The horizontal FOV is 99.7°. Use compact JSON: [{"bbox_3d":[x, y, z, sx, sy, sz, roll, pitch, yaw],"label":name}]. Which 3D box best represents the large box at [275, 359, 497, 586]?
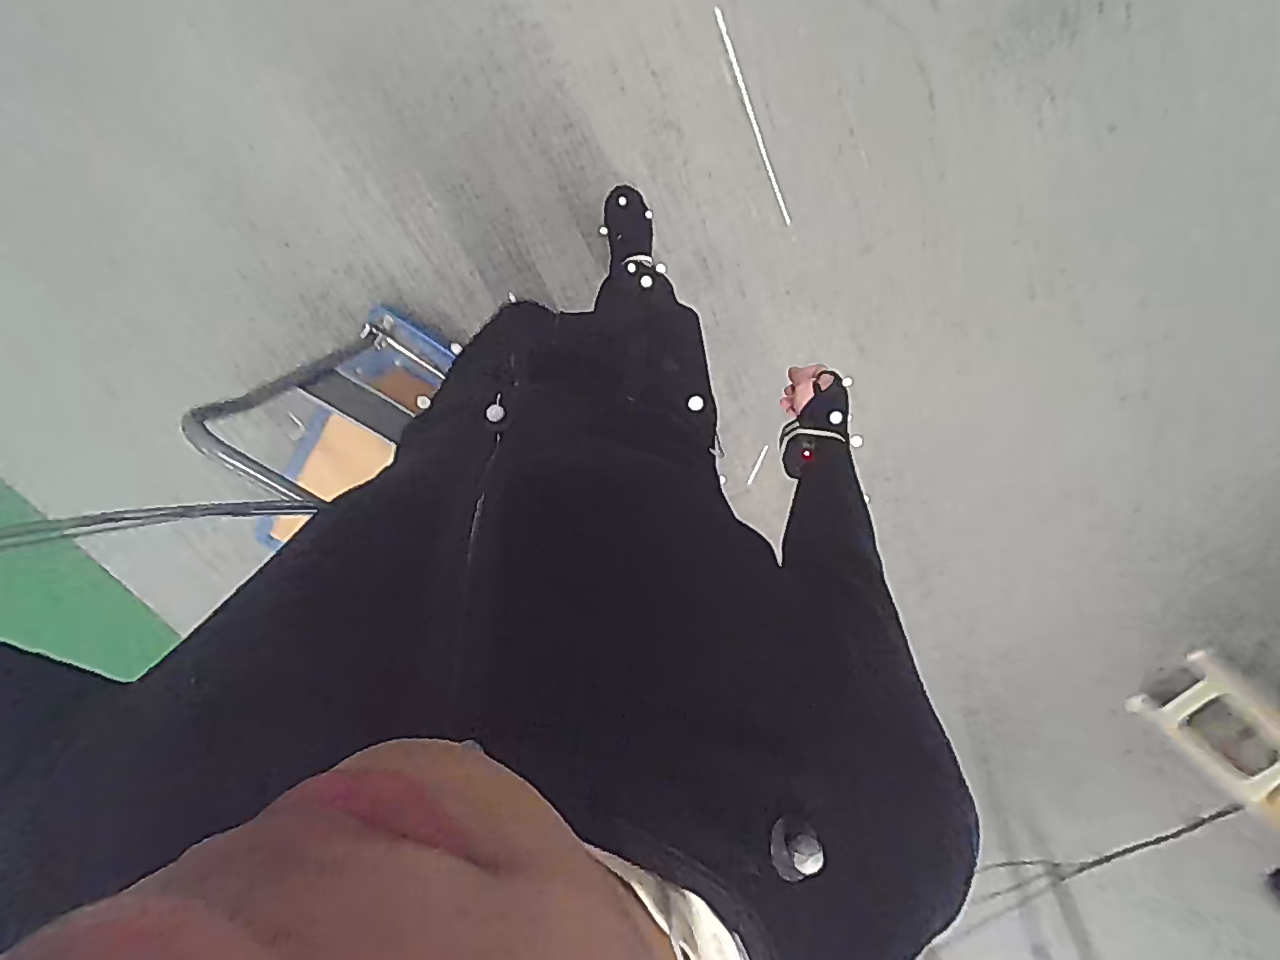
[{"bbox_3d":[-0.614,-0.024,1.354,0.320,0.320,0.408,34,114,-16],"label":"large box"}]
